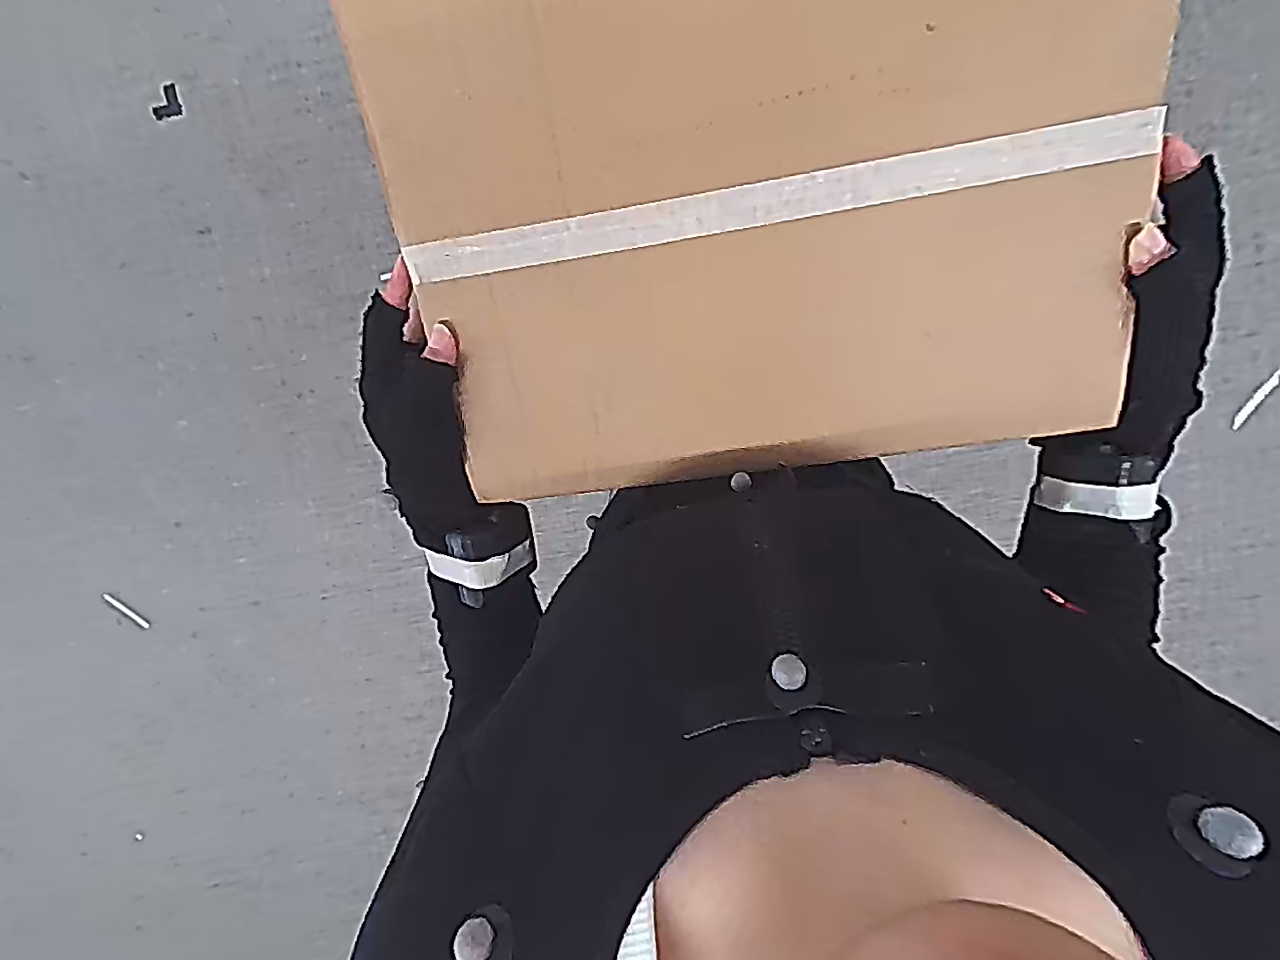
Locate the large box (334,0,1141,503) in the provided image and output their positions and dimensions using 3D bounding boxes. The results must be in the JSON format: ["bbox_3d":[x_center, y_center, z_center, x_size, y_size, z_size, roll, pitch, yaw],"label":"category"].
[{"bbox_3d":[0.068,-0.206,0.446,0.408,0.320,0.320,-7,110,6],"label":"large box"}]
